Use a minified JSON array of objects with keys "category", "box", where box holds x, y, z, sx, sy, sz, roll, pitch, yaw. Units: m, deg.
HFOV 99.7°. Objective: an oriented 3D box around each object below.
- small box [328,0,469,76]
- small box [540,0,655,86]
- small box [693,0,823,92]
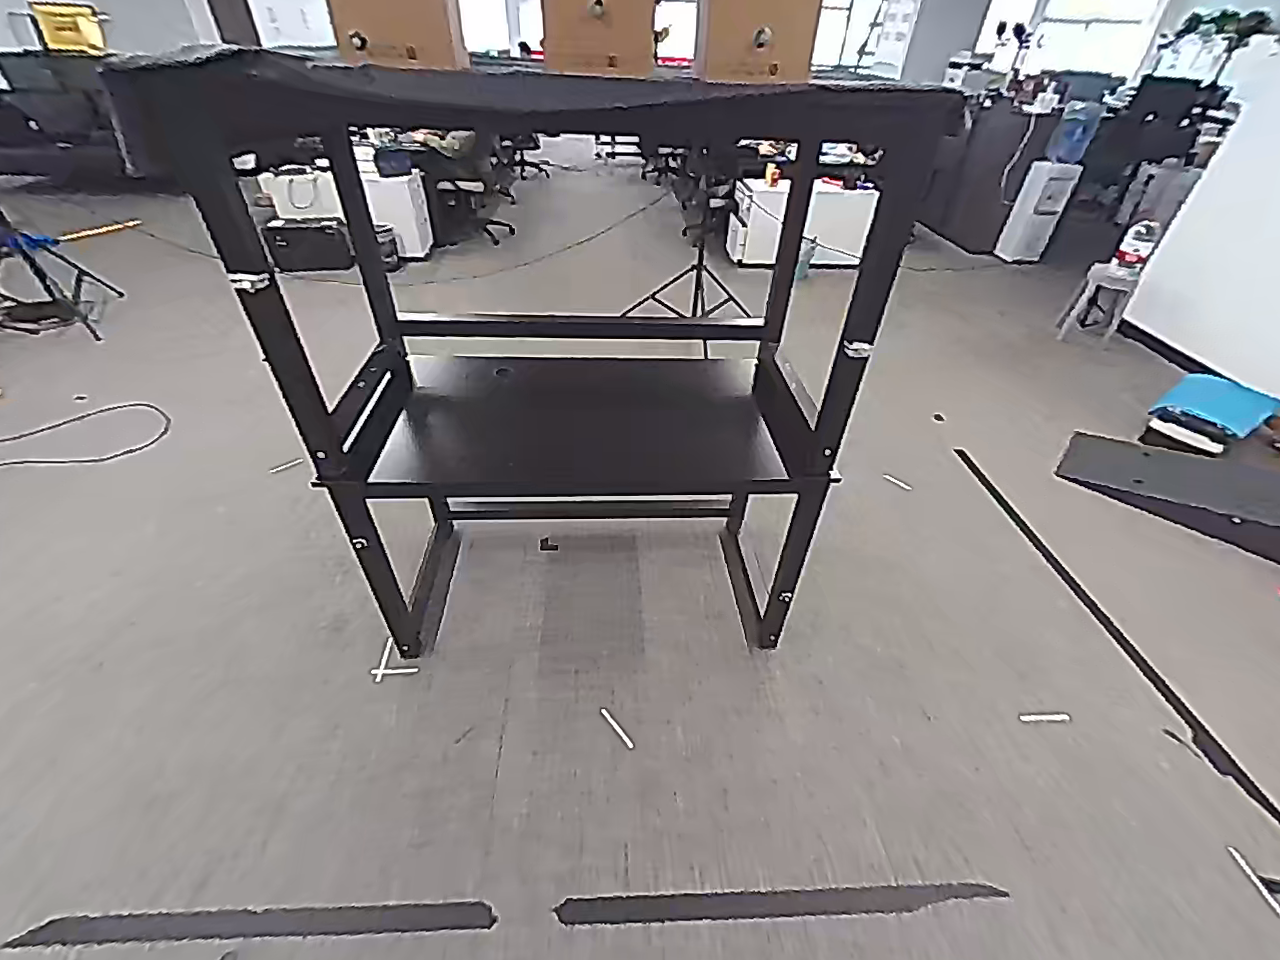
[{"category":"small box","box":[-0.363,-0.720,0.820,0.168,0.176,0.179,-3,38,-7]},{"category":"small box","box":[-0.060,-0.718,0.834,0.168,0.176,0.179,2,39,-2]},{"category":"small box","box":[0.177,-0.717,0.843,0.168,0.176,0.179,-1,39,-2]}]
